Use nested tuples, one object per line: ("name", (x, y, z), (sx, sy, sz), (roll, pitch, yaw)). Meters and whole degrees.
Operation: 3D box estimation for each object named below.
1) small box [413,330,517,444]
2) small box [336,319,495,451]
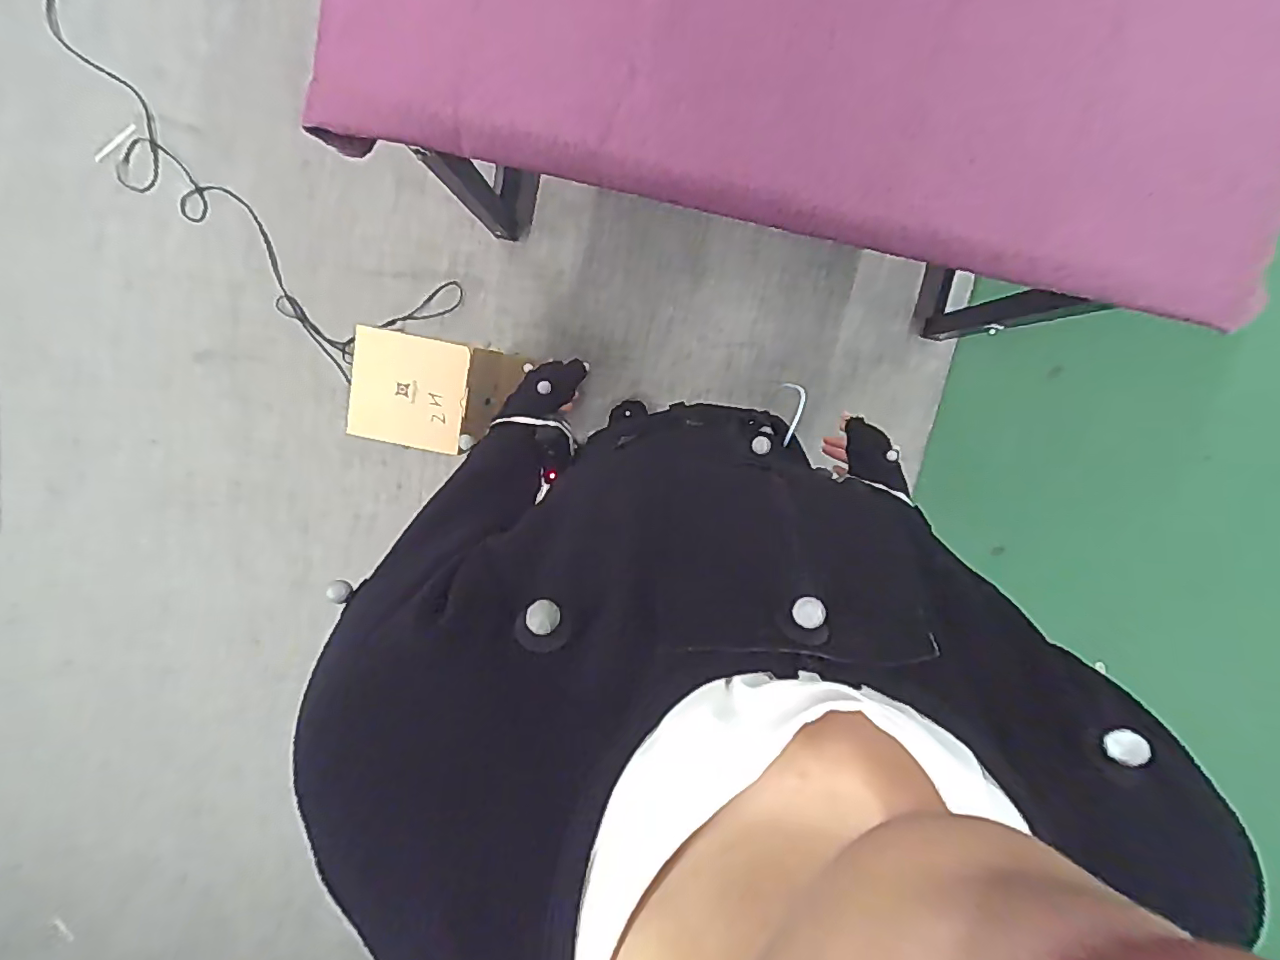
("small box", (-0.342, -0.179, 1.042), (0.168, 0.176, 0.179), (12, 101, -2))
("small box", (-0.355, -0.153, 0.880), (0.179, 0.176, 0.168), (12, 101, -2))
